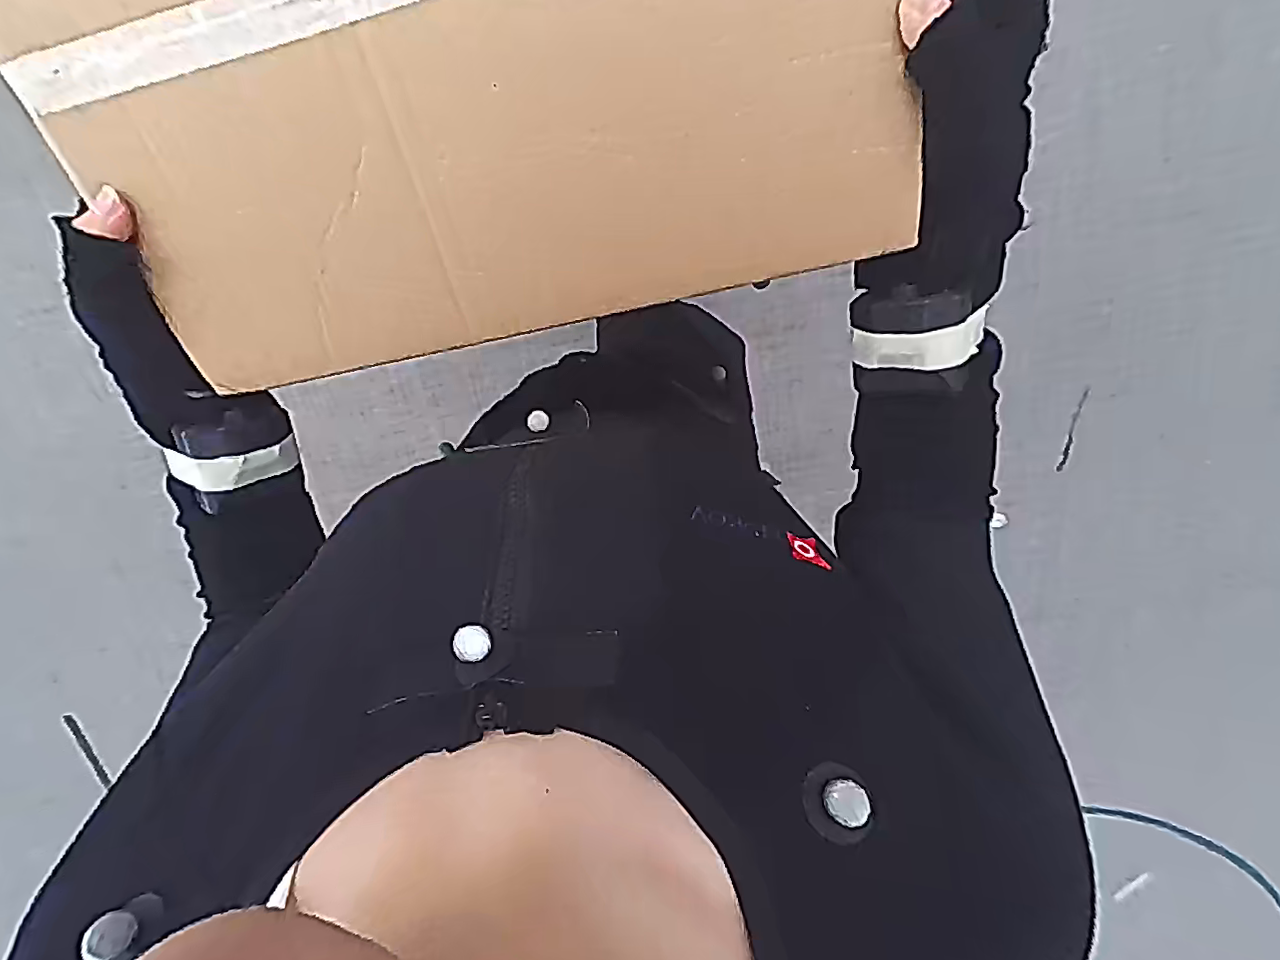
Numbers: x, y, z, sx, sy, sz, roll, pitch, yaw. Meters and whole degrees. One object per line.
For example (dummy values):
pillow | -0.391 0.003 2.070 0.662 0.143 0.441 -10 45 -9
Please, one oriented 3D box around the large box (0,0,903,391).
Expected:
large box | -0.086 -0.297 0.360 0.408 0.320 0.320 -10 120 8
